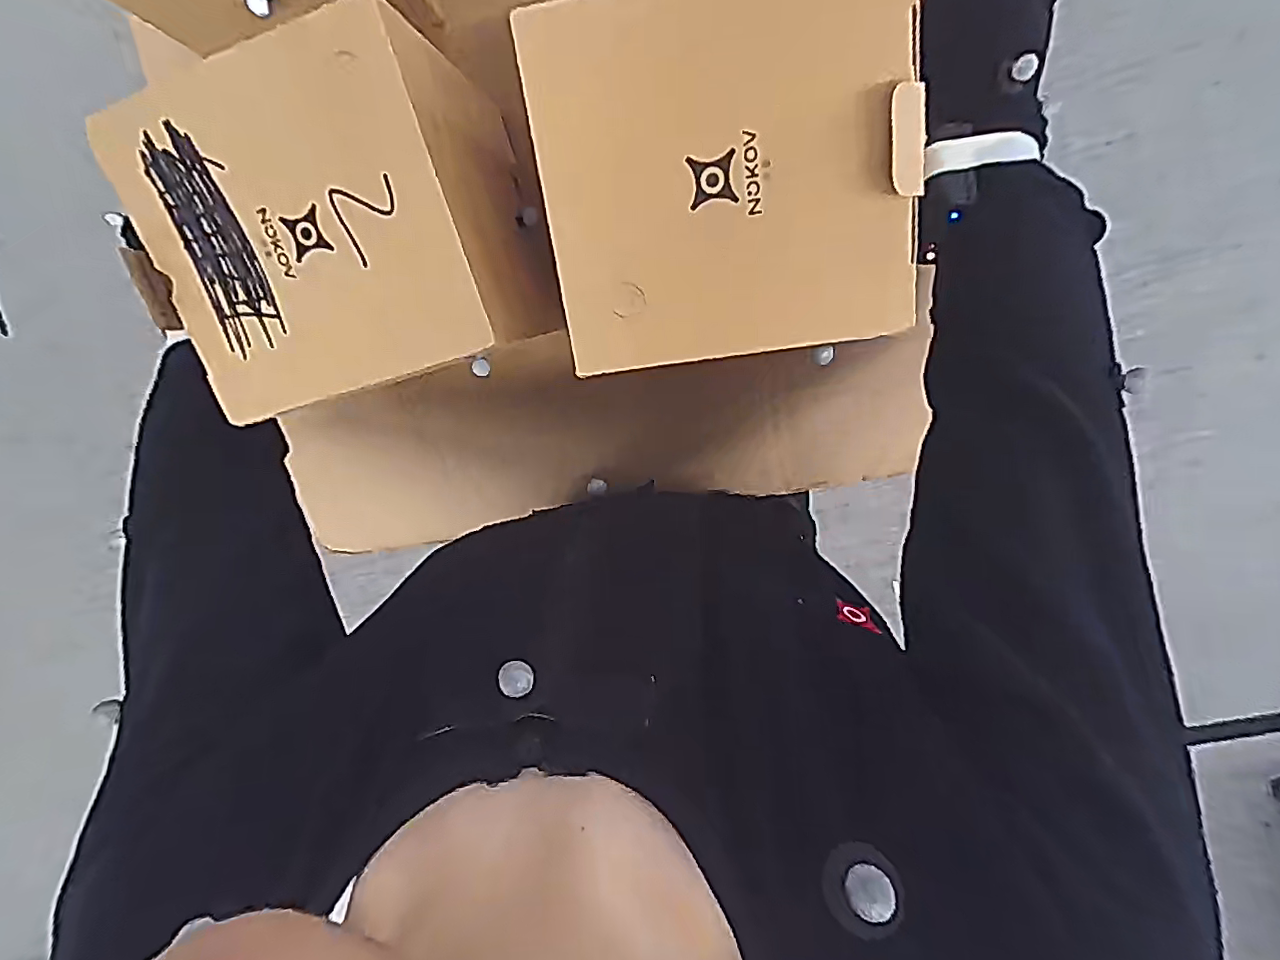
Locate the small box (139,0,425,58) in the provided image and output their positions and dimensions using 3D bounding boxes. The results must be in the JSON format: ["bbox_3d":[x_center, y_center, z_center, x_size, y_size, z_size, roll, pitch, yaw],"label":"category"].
[{"bbox_3d":[-0.252,-0.392,0.314,0.168,0.176,0.179,-10,99,10],"label":"small box"}]
